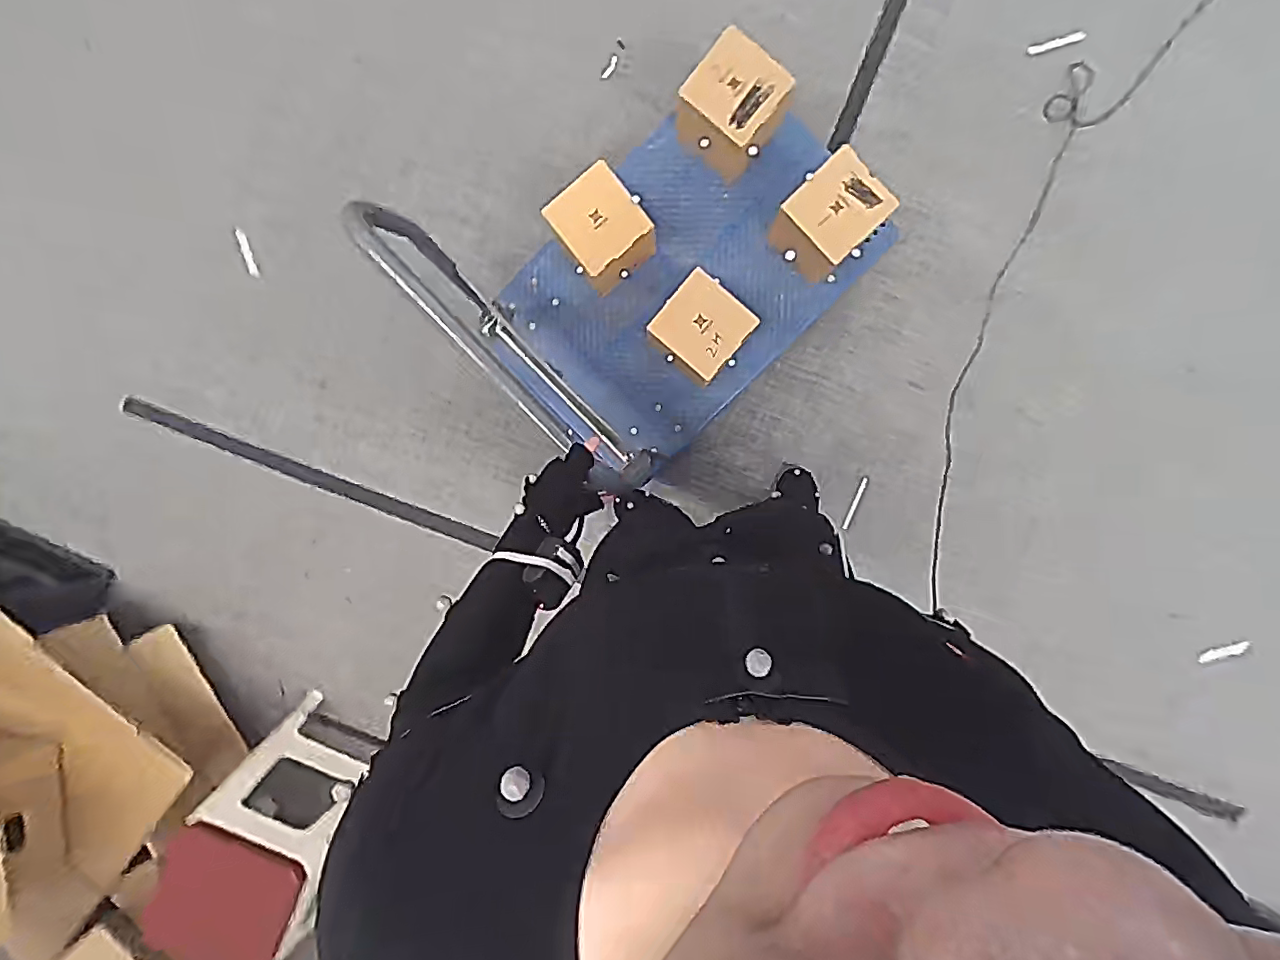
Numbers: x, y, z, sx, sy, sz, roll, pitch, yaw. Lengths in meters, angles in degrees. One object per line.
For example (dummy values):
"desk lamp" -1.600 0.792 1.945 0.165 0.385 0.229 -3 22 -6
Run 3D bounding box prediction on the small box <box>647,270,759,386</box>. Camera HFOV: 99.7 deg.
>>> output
"small box" 0.134 -0.324 1.201 0.179 0.176 0.168 41 96 -1

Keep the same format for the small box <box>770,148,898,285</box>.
"small box" 0.406 -0.556 1.168 0.179 0.176 0.168 -43 91 6

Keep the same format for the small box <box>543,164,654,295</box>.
"small box" -0.085 -0.540 1.195 0.168 0.176 0.179 -39 93 5
